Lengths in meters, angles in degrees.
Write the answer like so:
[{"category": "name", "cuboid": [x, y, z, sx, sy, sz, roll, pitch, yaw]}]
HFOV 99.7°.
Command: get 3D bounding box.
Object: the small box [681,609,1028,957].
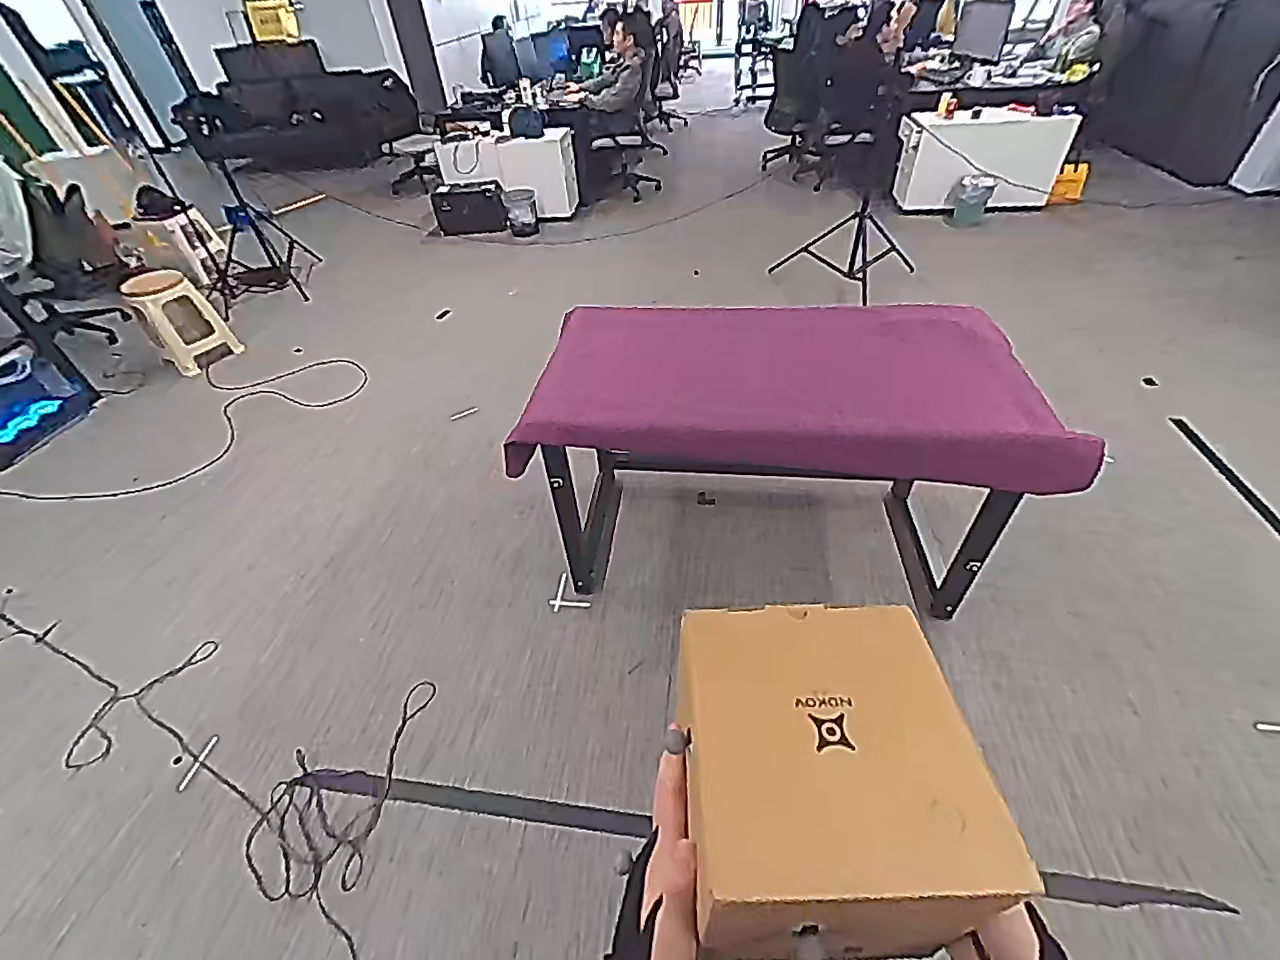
[{"category": "small box", "cuboid": [0.118, 0.215, 0.386, 0.168, 0.176, 0.179, -1, 39, 0]}]
